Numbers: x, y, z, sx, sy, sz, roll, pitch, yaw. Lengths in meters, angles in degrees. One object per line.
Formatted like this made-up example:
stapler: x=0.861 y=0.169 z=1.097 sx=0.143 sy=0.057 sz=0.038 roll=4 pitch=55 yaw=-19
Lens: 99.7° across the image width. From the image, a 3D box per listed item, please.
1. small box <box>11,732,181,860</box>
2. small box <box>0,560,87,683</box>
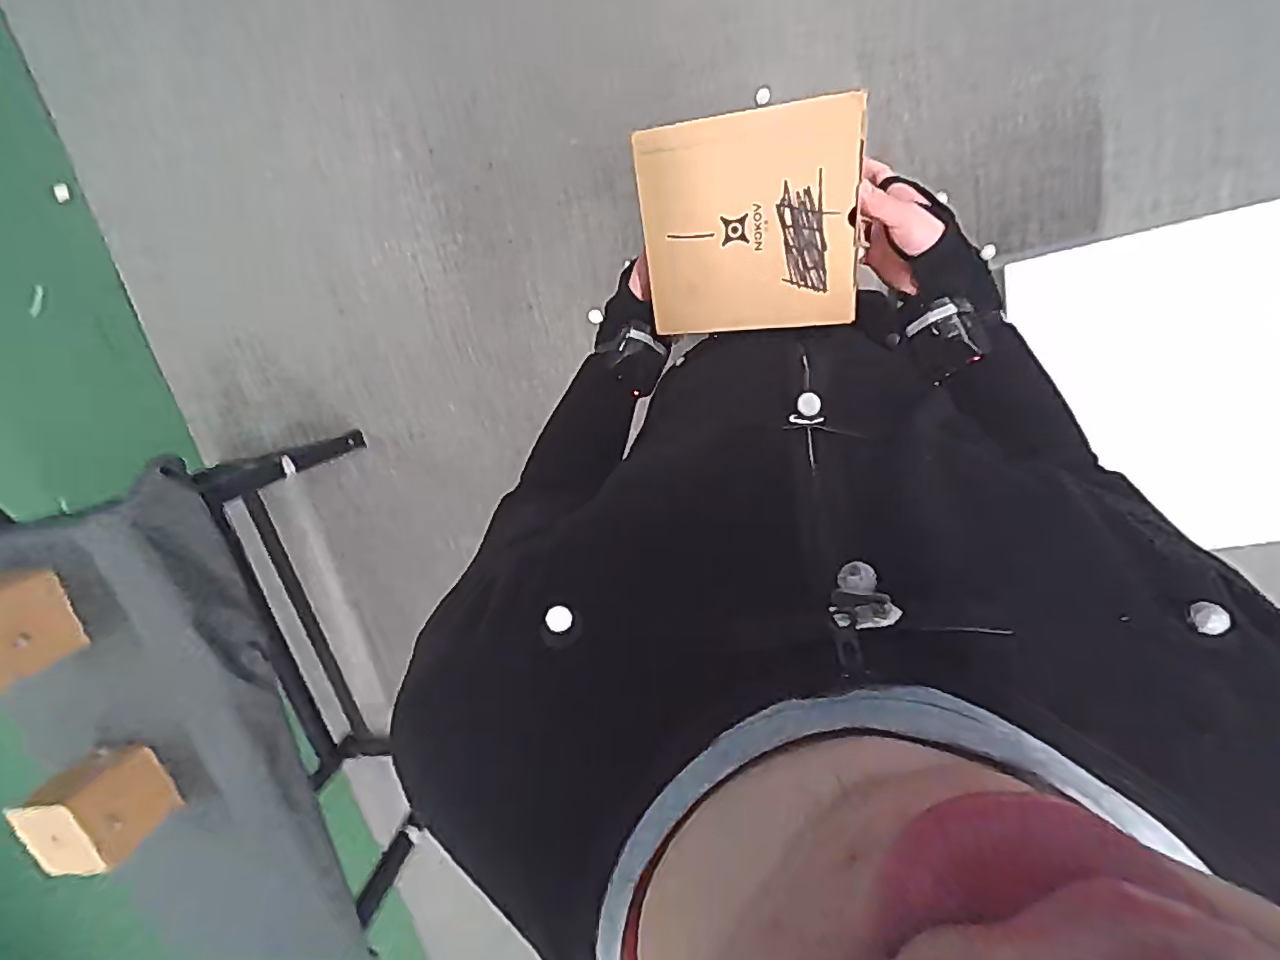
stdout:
small box: x=-1.160 y=0.680 z=1.171 sx=0.168 sy=0.176 sz=0.179 roll=-10 pitch=105 yaw=11
small box: x=-1.242 y=0.272 z=1.041 sx=0.168 sy=0.176 sz=0.179 roll=-4 pitch=109 yaw=9
